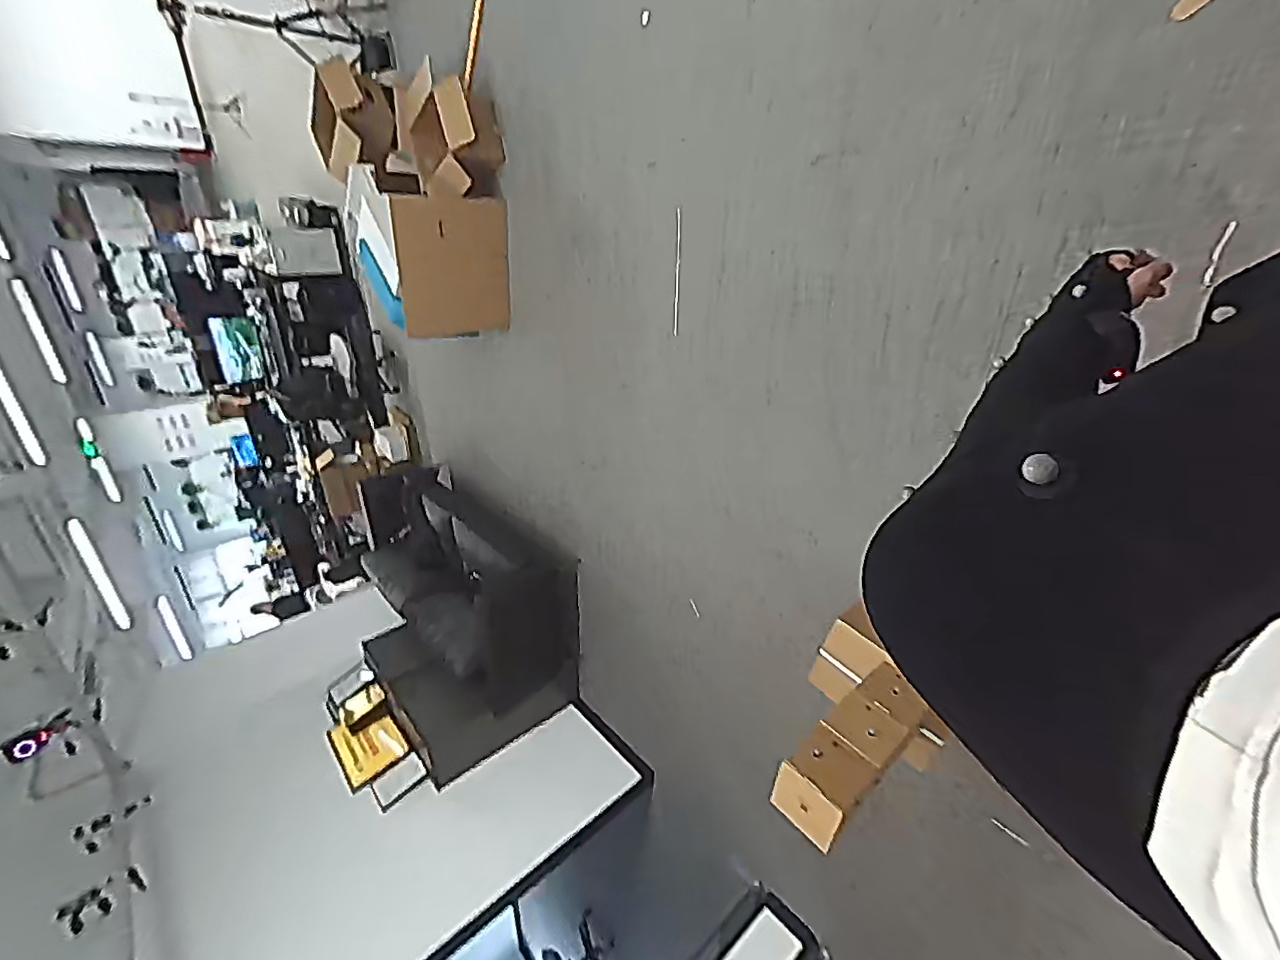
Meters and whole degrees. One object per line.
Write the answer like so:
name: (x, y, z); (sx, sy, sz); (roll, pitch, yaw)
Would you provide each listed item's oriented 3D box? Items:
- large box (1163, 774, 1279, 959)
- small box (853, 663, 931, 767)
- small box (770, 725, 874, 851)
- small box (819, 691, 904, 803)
large box: (1.436, 0.888, 1.141); (0.408, 0.320, 0.320); (-19, 93, 51)
small box: (0.694, 0.658, 1.534); (0.168, 0.176, 0.179); (33, 129, 38)
small box: (0.452, 0.752, 1.337); (0.168, 0.176, 0.179); (32, 130, 39)
small box: (0.572, 0.701, 1.435); (0.168, 0.176, 0.179); (32, 130, 38)
